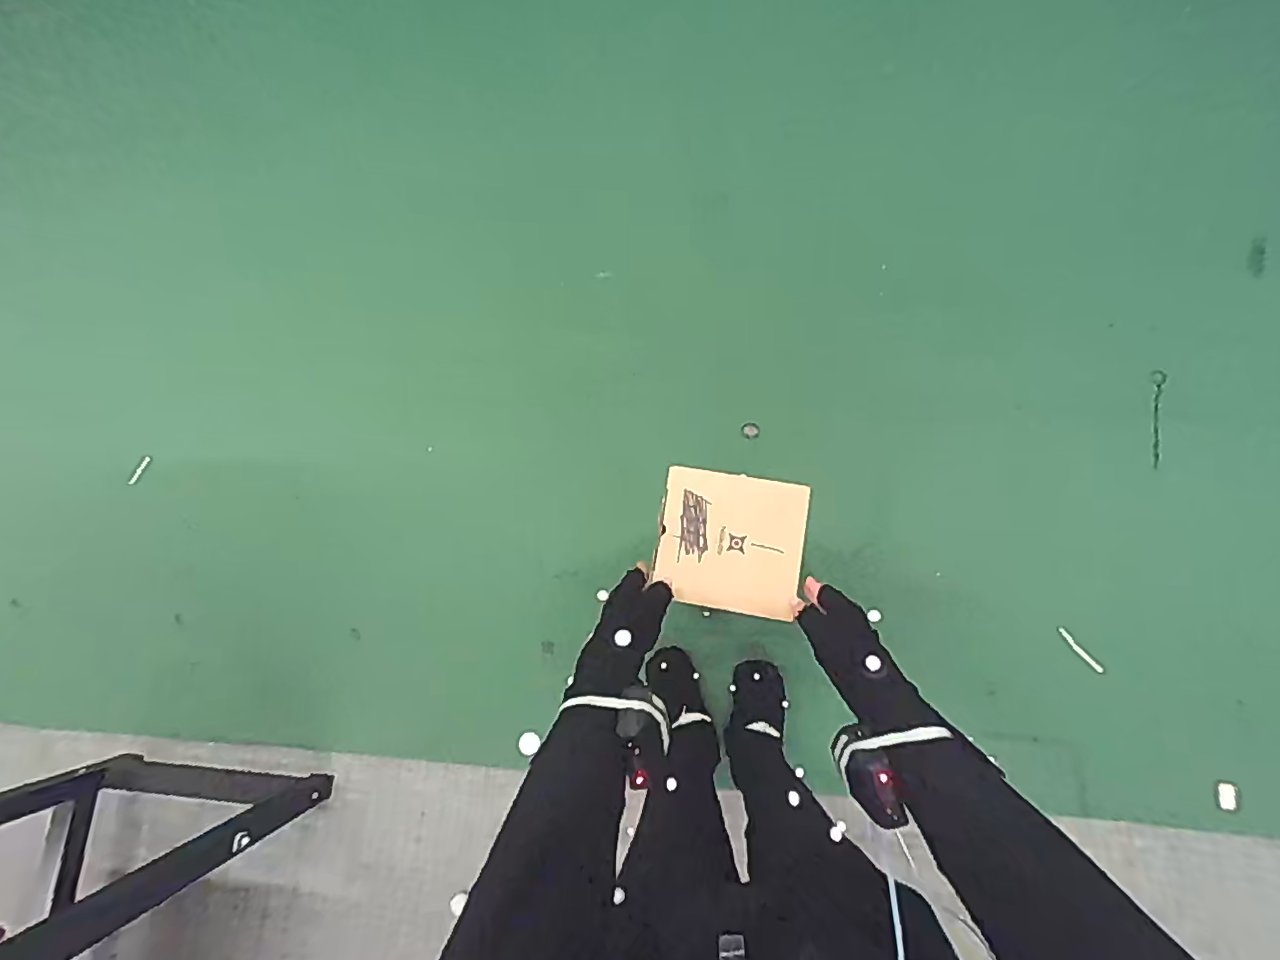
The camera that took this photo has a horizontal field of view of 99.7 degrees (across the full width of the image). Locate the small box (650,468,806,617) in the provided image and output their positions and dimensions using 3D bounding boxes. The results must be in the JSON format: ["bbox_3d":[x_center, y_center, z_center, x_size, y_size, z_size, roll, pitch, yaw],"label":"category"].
[{"bbox_3d":[0.117,0.087,0.733,0.179,0.176,0.168,6,81,8],"label":"small box"}]
